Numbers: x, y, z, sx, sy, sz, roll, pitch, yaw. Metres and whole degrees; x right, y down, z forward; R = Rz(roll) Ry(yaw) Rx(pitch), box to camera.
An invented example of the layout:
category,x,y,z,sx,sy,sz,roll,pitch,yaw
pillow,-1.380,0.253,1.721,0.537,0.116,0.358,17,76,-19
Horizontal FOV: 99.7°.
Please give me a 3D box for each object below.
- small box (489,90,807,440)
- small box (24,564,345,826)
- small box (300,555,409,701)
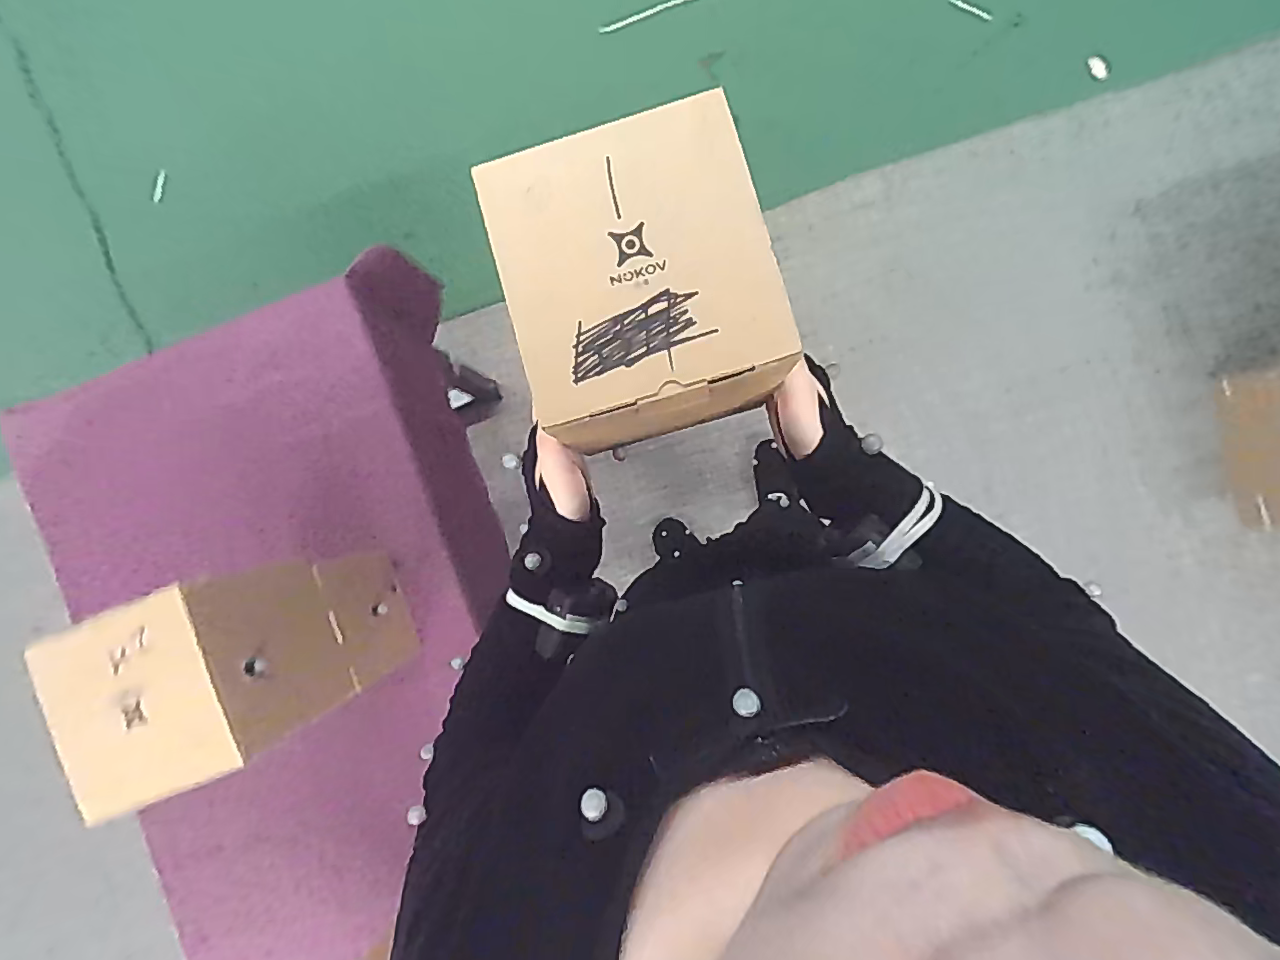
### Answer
category,x,y,z,sx,sy,sz,roll,pitch,yaw
small box,0.008,-0.133,0.411,0.168,0.176,0.179,-15,86,2
small box,-0.449,0.205,0.565,0.168,0.176,0.179,-22,88,3
small box,-0.440,0.210,0.730,0.179,0.176,0.168,-21,88,2
